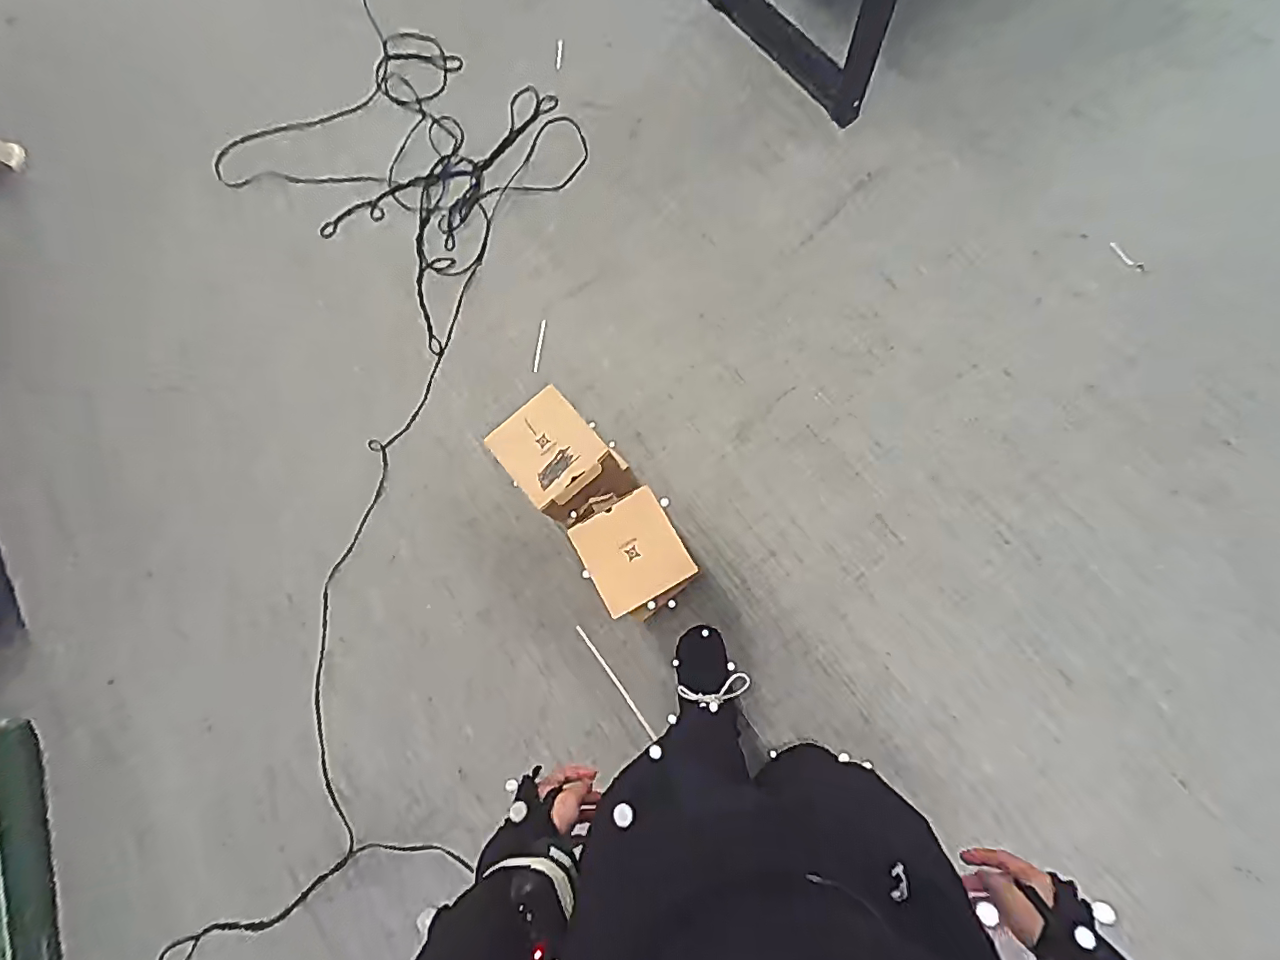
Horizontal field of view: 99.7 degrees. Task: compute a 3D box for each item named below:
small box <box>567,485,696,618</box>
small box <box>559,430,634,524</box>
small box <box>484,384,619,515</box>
[{"bbox_3d":[-0.006,0.132,0.993,0.168,0.176,0.179,-31,77,0],"label":"small box"},{"bbox_3d":[-0.131,-0.009,1.199,0.168,0.176,0.179,44,86,13],"label":"small box"},{"bbox_3d":[-0.159,-0.046,1.040,0.168,0.176,0.179,-40,76,-3],"label":"small box"}]
